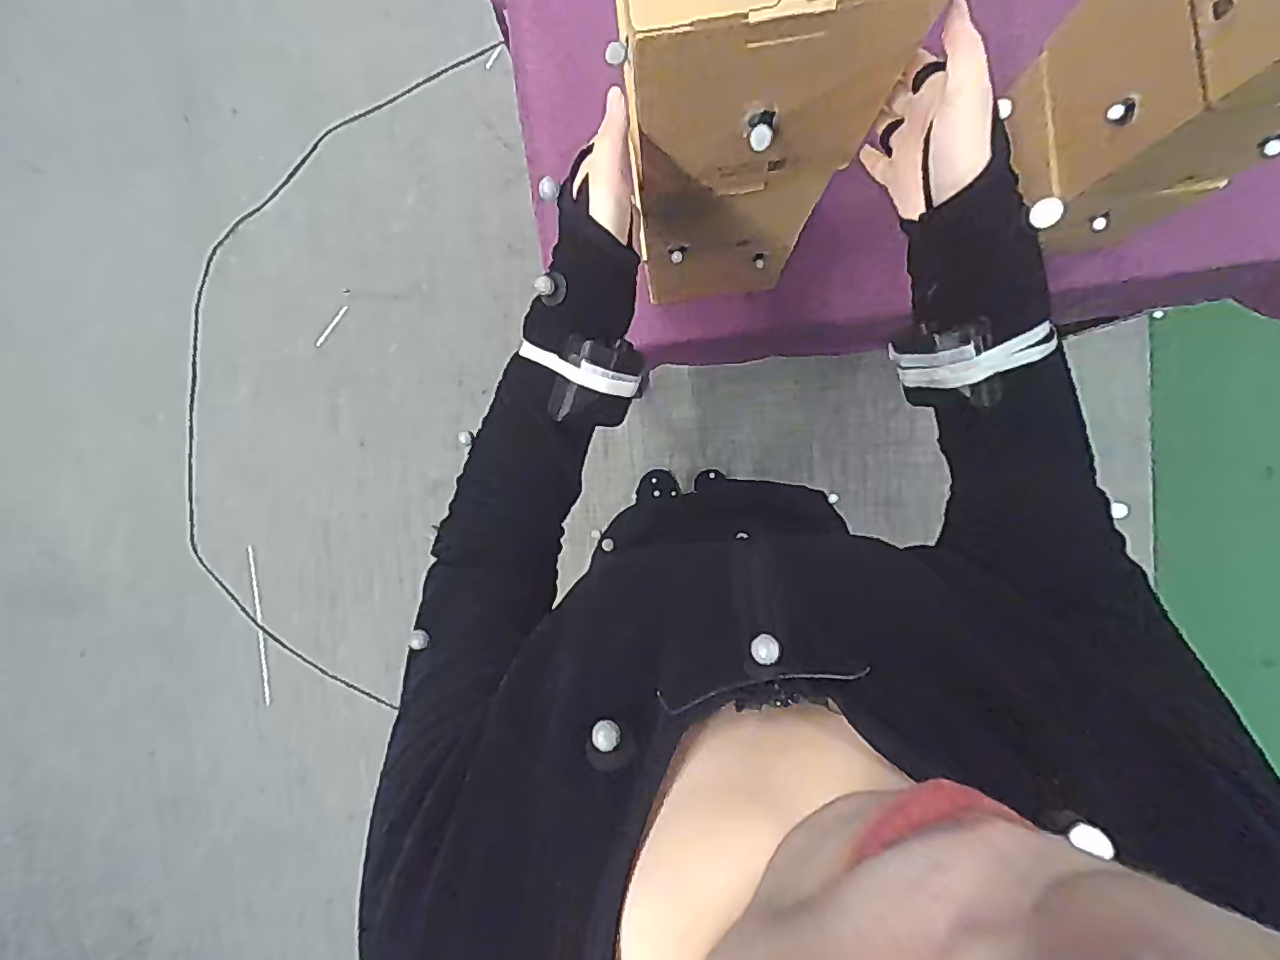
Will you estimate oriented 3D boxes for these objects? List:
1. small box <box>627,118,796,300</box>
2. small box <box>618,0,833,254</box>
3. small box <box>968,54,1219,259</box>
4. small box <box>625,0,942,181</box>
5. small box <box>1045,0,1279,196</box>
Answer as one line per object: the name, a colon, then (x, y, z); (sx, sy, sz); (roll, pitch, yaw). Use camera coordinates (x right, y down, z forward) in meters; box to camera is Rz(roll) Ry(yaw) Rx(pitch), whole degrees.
small box: (0.085, -0.339, 0.684); (0.179, 0.176, 0.168); (-7, 92, 3)
small box: (0.076, -0.335, 0.520); (0.168, 0.176, 0.179); (-7, 90, 3)
small box: (0.522, -0.382, 0.652); (0.179, 0.176, 0.168); (-5, 92, 4)
small box: (0.073, -0.323, 0.356); (0.168, 0.176, 0.179); (-6, 92, 3)
small box: (0.511, -0.382, 0.489); (0.168, 0.176, 0.179); (-7, 91, 3)
